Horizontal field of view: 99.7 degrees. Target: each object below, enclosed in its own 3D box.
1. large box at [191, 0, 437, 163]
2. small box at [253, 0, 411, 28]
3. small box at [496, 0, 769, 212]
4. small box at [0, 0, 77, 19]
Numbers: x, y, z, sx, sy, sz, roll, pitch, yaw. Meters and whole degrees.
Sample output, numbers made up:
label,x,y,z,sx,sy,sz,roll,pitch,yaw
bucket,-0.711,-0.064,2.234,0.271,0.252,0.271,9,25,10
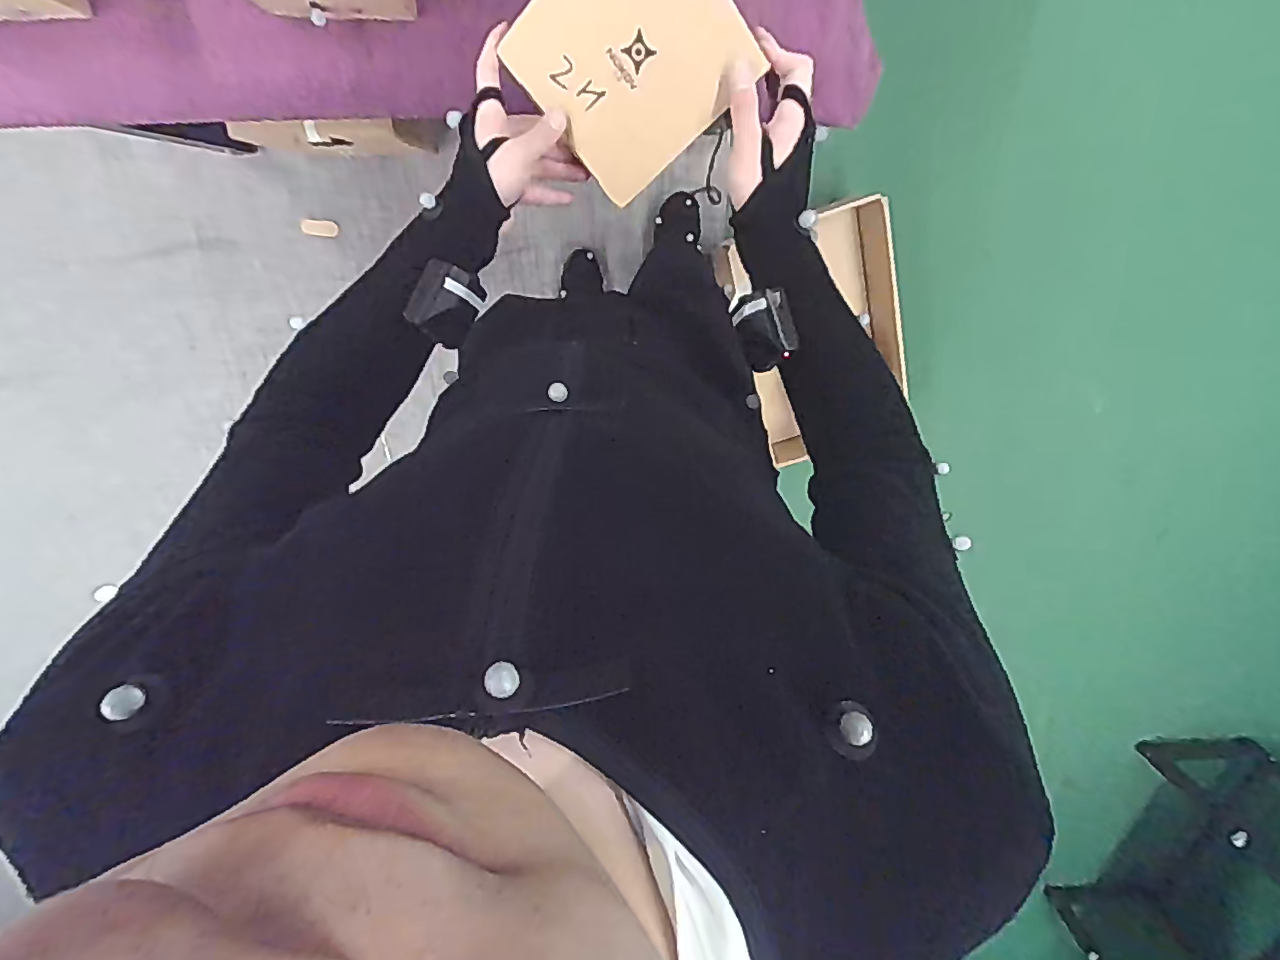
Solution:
label,x,y,z,sx,sy,sz,roll,pitch,yaw
large box,-0.638,-0.891,1.086,0.320,0.320,0.408,-3,114,-4
small box,-0.340,-0.579,0.522,0.168,0.176,0.179,-1,114,-3
small box,-0.001,-0.398,0.516,0.179,0.176,0.168,-33,116,27
small box,-0.702,-0.561,0.501,0.168,0.176,0.179,-4,113,-3
